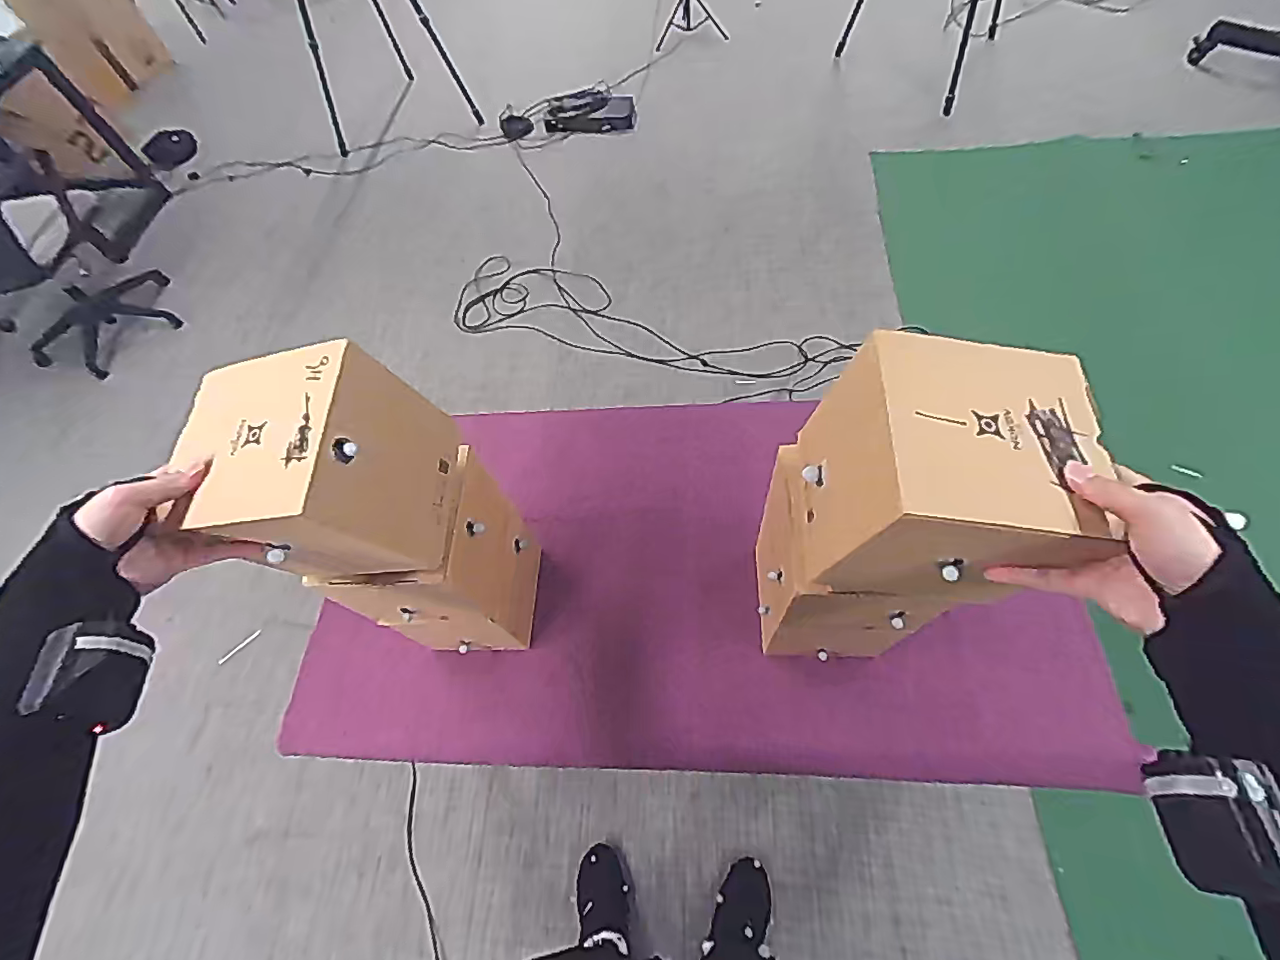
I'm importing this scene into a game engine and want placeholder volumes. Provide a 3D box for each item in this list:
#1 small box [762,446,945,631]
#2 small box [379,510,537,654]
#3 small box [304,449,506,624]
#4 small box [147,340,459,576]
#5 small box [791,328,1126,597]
[{"bbox_3d":[0.238,0.074,0.635,0.168,0.176,0.179,-2,60,6],"label":"small box"},{"bbox_3d":[-0.266,0.161,0.840,0.168,0.176,0.179,-2,60,6],"label":"small box"},{"bbox_3d":[-0.283,0.079,0.701,0.168,0.176,0.179,-3,61,5],"label":"small box"},{"bbox_3d":[-0.312,-0.006,0.536,0.179,0.176,0.168,-8,65,18],"label":"small box"},{"bbox_3d":[0.248,-0.003,0.473,0.179,0.176,0.168,7,62,-3],"label":"small box"}]
